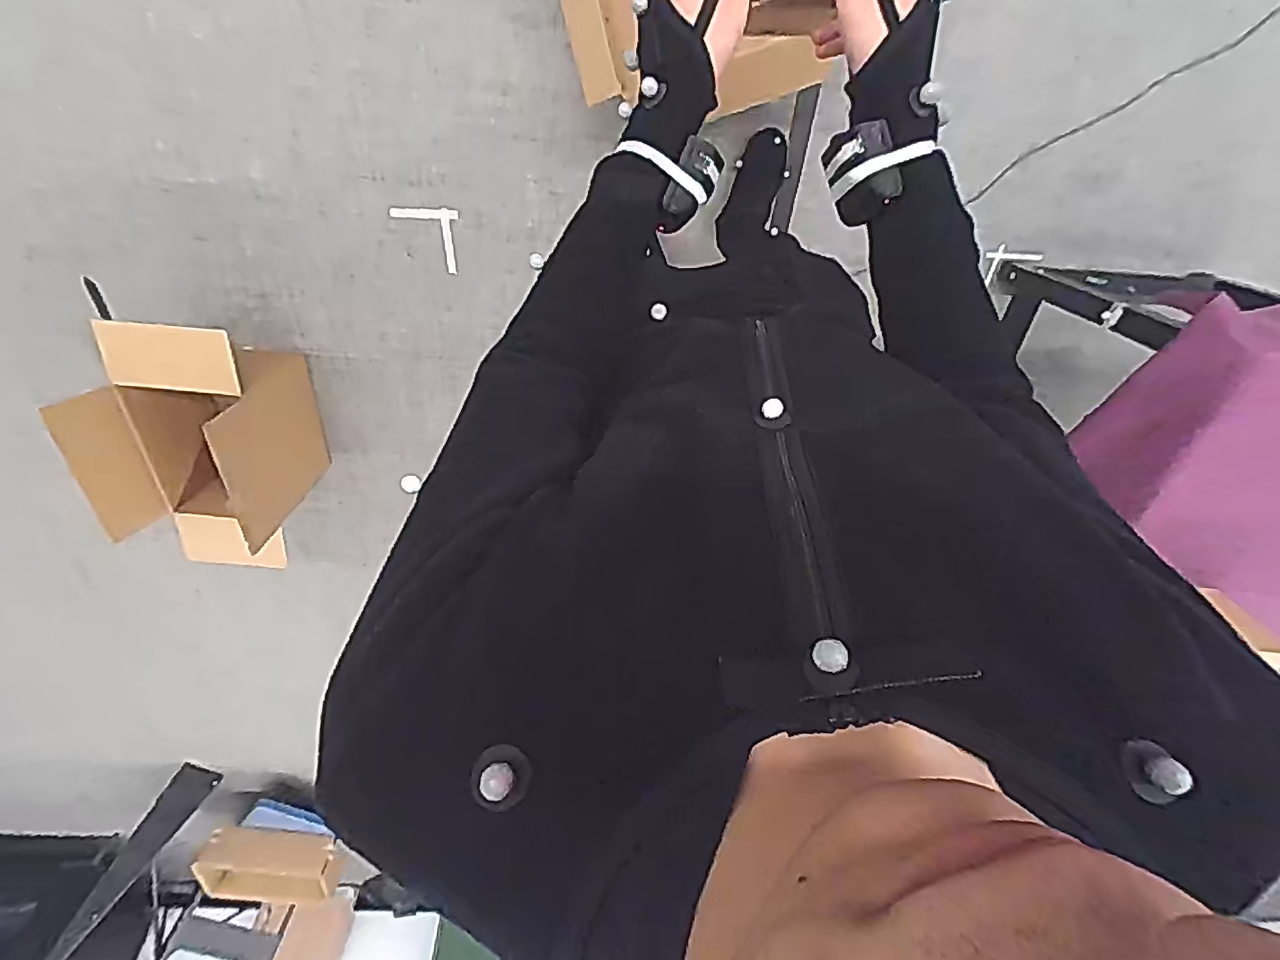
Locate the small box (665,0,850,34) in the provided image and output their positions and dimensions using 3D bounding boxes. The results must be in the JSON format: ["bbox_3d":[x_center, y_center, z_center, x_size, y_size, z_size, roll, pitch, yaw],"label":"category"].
[{"bbox_3d":[0.108,-0.494,0.444,0.168,0.176,0.179,-1,118,-2],"label":"small box"}]
